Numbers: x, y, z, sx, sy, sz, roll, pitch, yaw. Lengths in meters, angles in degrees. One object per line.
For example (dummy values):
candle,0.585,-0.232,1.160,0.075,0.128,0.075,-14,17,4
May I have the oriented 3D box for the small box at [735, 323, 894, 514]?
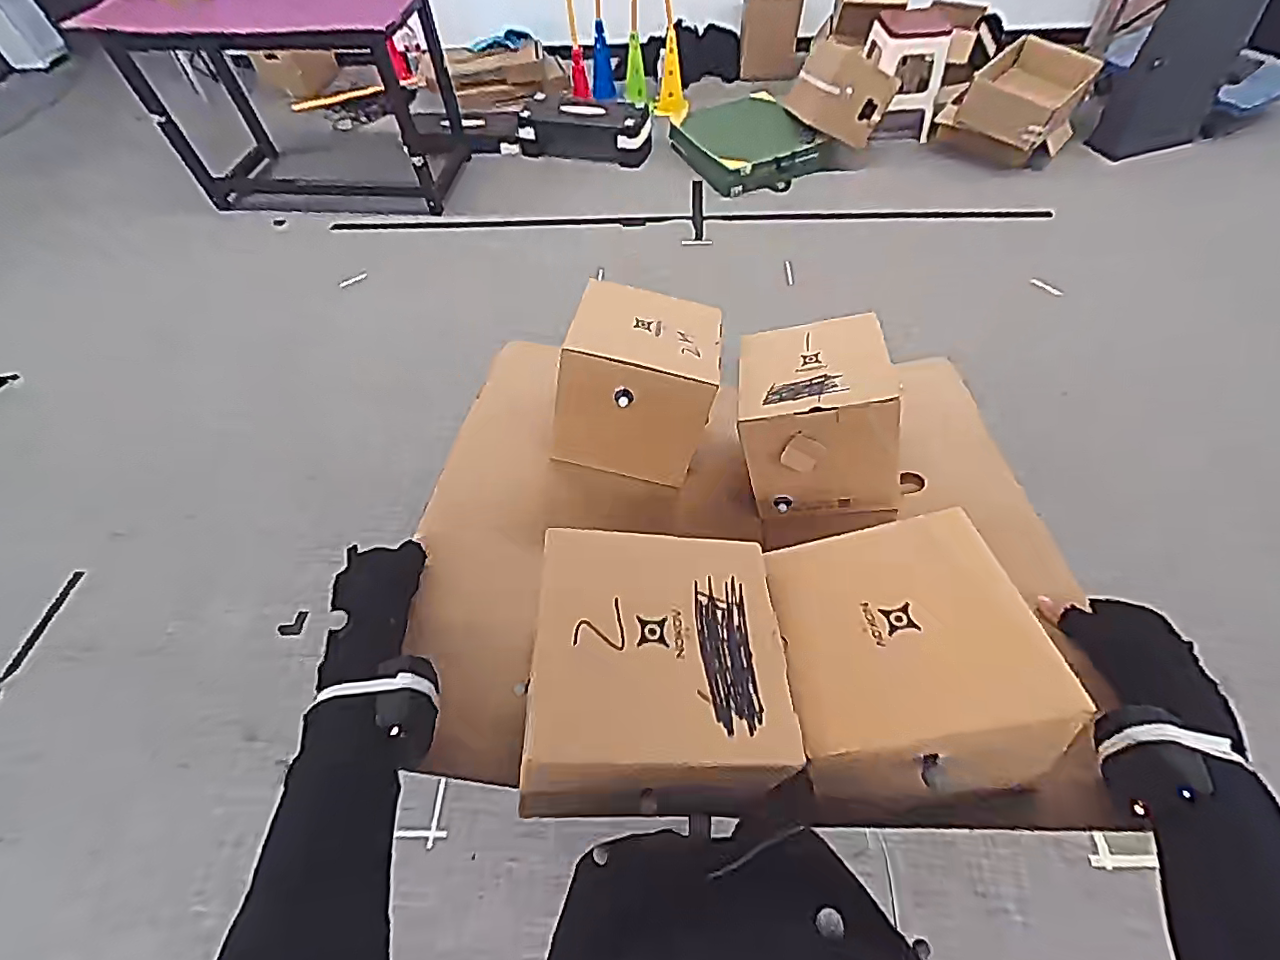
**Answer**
small box,0.222,-0.069,0.690,0.168,0.176,0.179,-7,42,19
